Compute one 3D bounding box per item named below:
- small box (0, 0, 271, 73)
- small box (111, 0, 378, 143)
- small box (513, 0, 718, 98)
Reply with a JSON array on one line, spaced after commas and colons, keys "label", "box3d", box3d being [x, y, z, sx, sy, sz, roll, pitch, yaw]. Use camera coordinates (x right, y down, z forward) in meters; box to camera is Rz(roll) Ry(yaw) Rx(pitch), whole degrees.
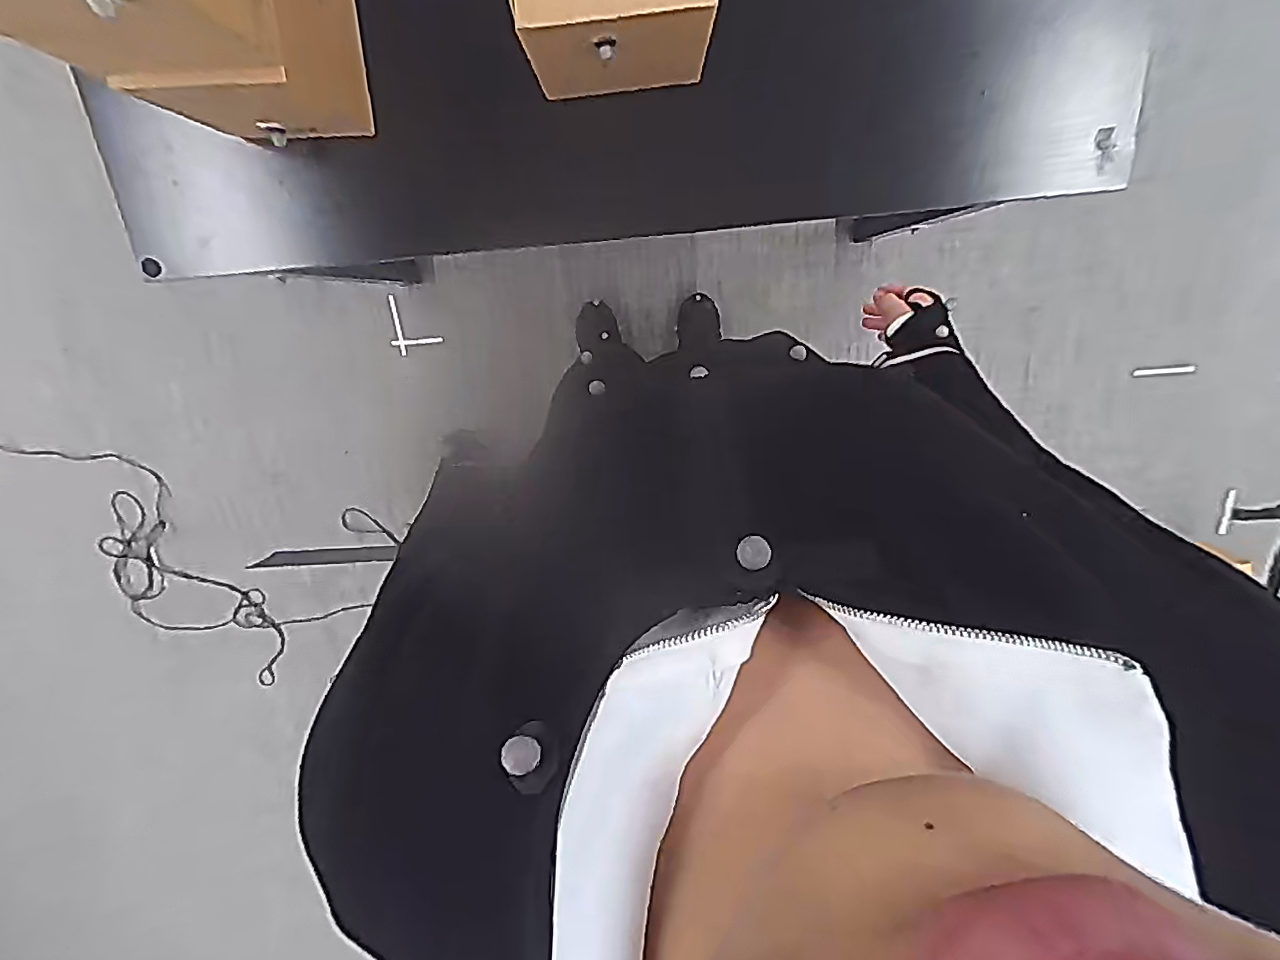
[{"label": "small box", "box3d": [-0.395, -0.410, 0.373, 0.179, 0.176, 0.168, -1, 107, 2]}, {"label": "small box", "box3d": [-0.387, -0.455, 0.532, 0.168, 0.176, 0.179, -1, 109, 2]}, {"label": "small box", "box3d": [-0.025, -0.492, 0.514, 0.179, 0.176, 0.168, -6, 108, 2]}]
